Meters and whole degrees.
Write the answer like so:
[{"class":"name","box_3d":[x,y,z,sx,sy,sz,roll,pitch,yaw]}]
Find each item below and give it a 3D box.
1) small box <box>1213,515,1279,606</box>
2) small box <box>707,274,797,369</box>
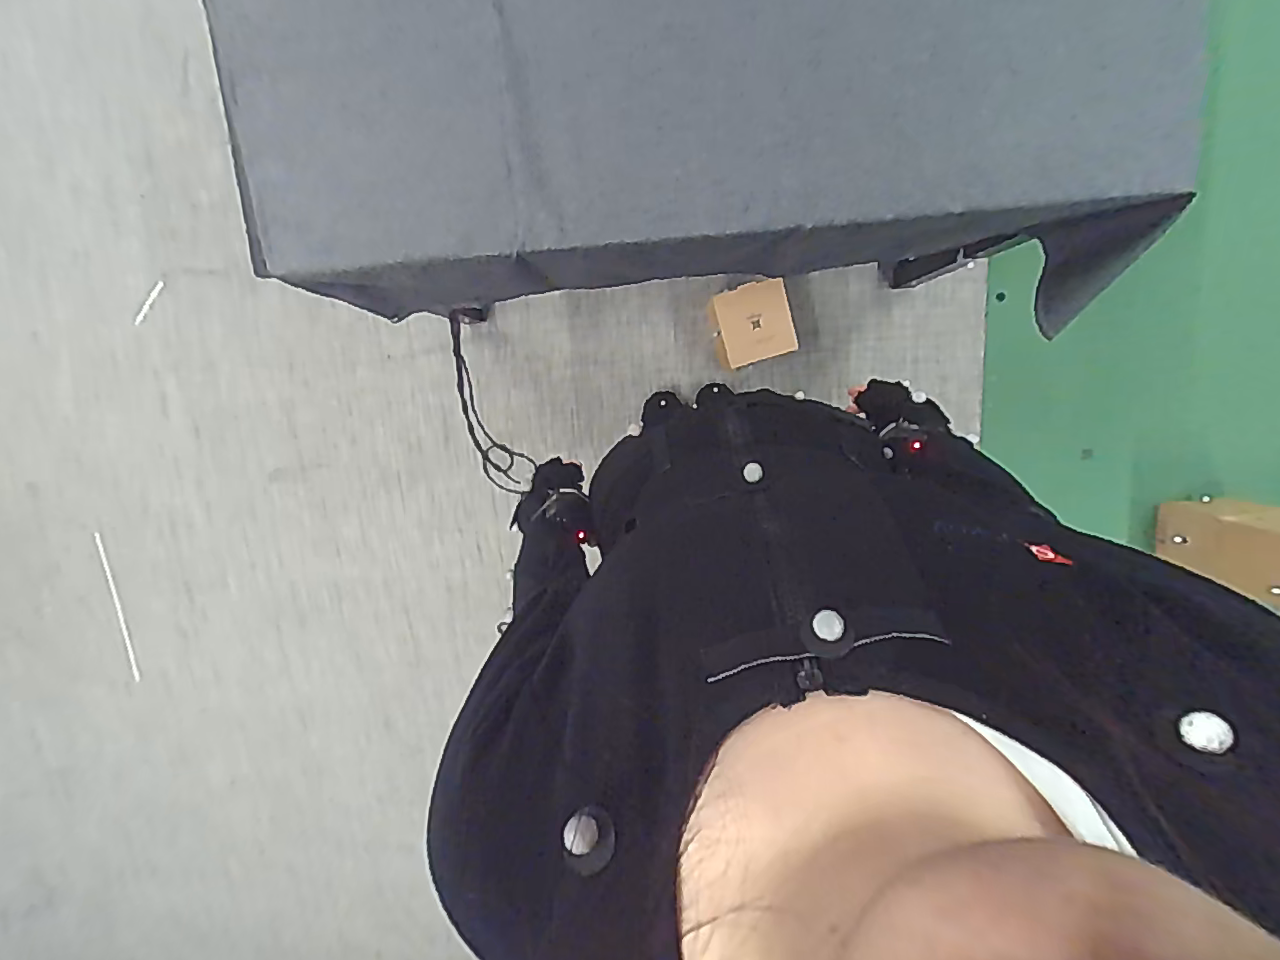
[{"class":"small box","box_3d":[1.462,0.180,1.219,0.168,0.176,0.179,-6,100,3]},{"class":"small box","box_3d":[0.267,-0.380,1.328,0.168,0.176,0.179,-16,98,5]}]
